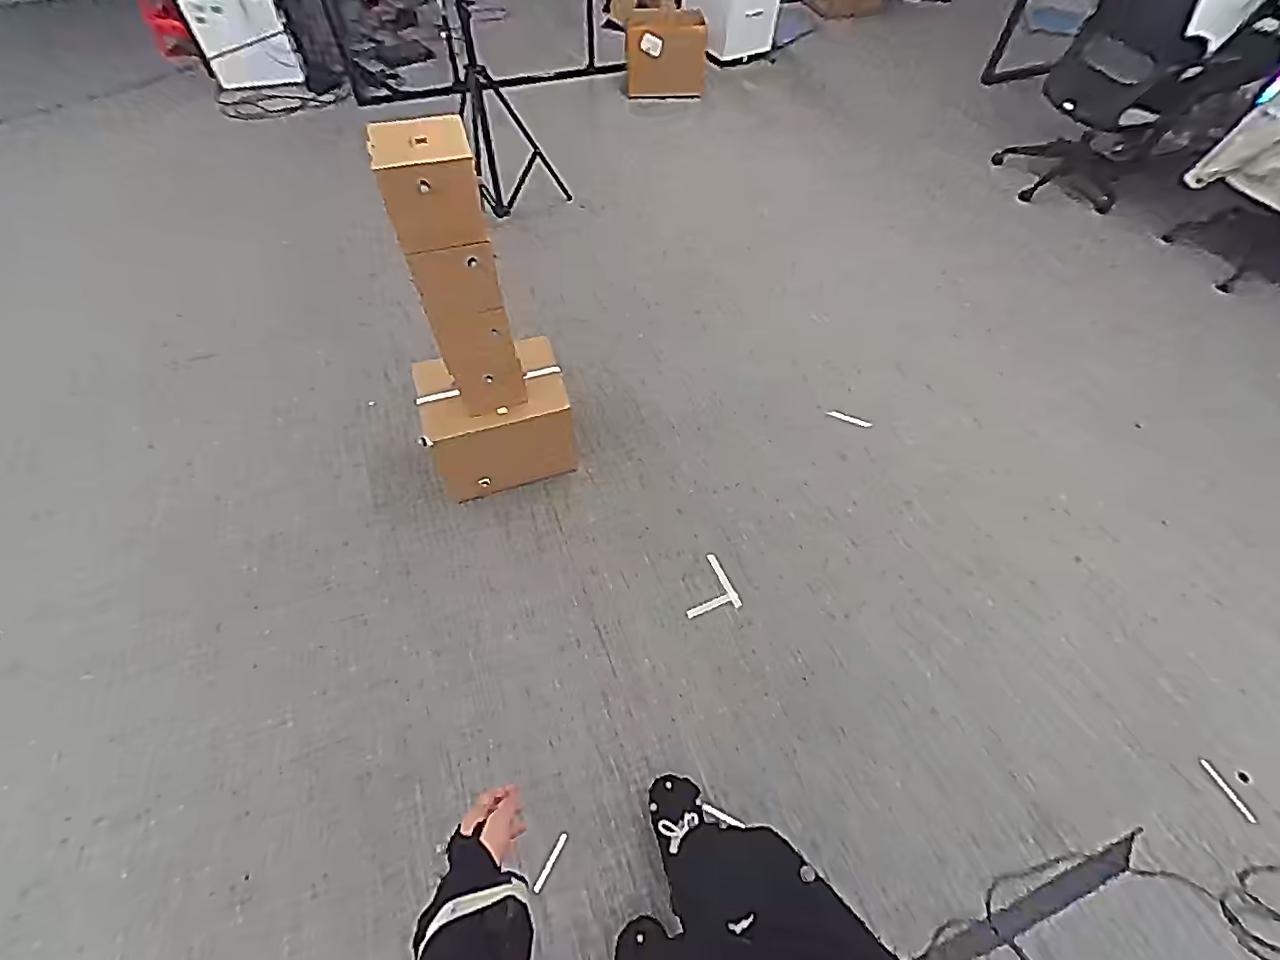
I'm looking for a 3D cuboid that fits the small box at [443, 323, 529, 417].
[{"bbox_3d":[-0.415,-0.295,1.475,0.179,0.176,0.168,-18,60,-14],"label":"small box"}]

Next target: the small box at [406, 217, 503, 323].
[{"bbox_3d":[-0.410,-0.477,1.201,0.179,0.176,0.168,-15,58,-11],"label":"small box"}]

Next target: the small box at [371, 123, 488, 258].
[{"bbox_3d":[-0.407,-0.566,1.066,0.179,0.176,0.168,-15,59,-11],"label":"small box"}]
